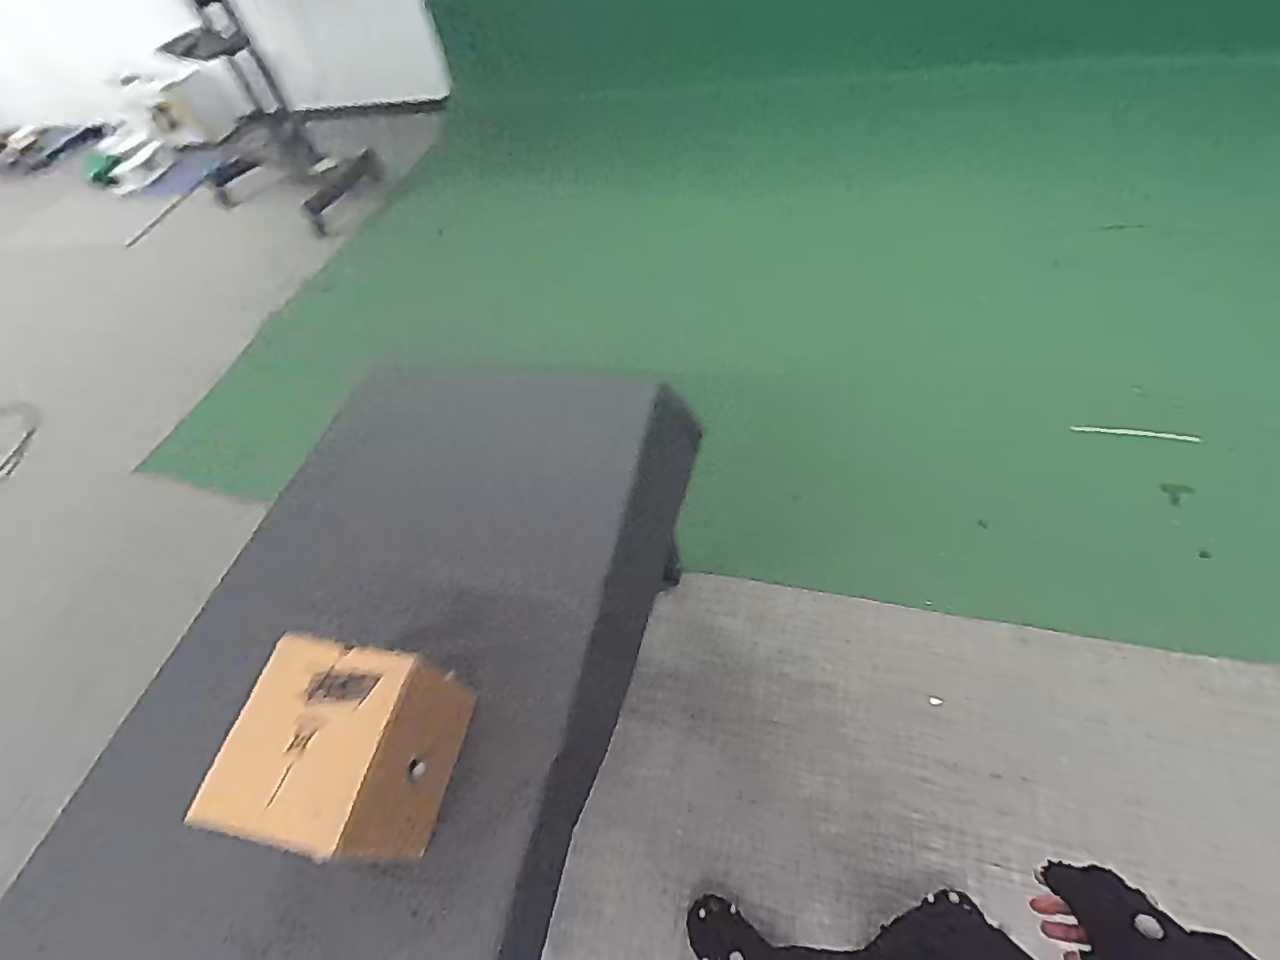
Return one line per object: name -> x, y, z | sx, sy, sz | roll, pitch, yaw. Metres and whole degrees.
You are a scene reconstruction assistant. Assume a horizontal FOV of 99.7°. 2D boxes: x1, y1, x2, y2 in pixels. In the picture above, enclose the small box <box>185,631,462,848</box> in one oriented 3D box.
small box -> -0.318, 0.286, 0.593 | 0.168, 0.176, 0.179 | 2, 55, 11
